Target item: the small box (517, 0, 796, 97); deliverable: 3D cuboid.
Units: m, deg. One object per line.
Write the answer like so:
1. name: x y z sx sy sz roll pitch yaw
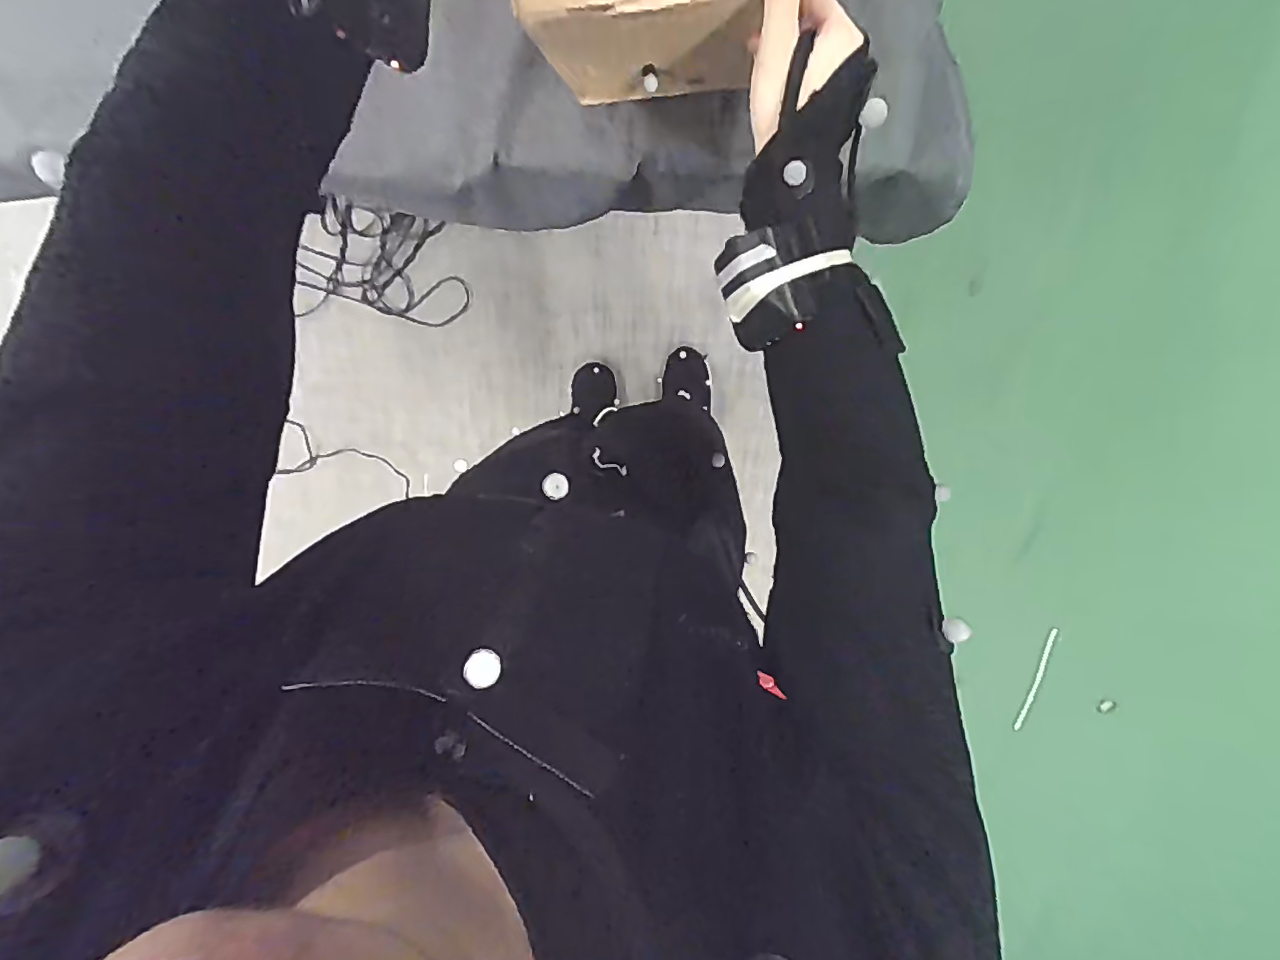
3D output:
1. small box: 0.012 -0.381 0.350 0.168 0.176 0.179 -1 112 8
